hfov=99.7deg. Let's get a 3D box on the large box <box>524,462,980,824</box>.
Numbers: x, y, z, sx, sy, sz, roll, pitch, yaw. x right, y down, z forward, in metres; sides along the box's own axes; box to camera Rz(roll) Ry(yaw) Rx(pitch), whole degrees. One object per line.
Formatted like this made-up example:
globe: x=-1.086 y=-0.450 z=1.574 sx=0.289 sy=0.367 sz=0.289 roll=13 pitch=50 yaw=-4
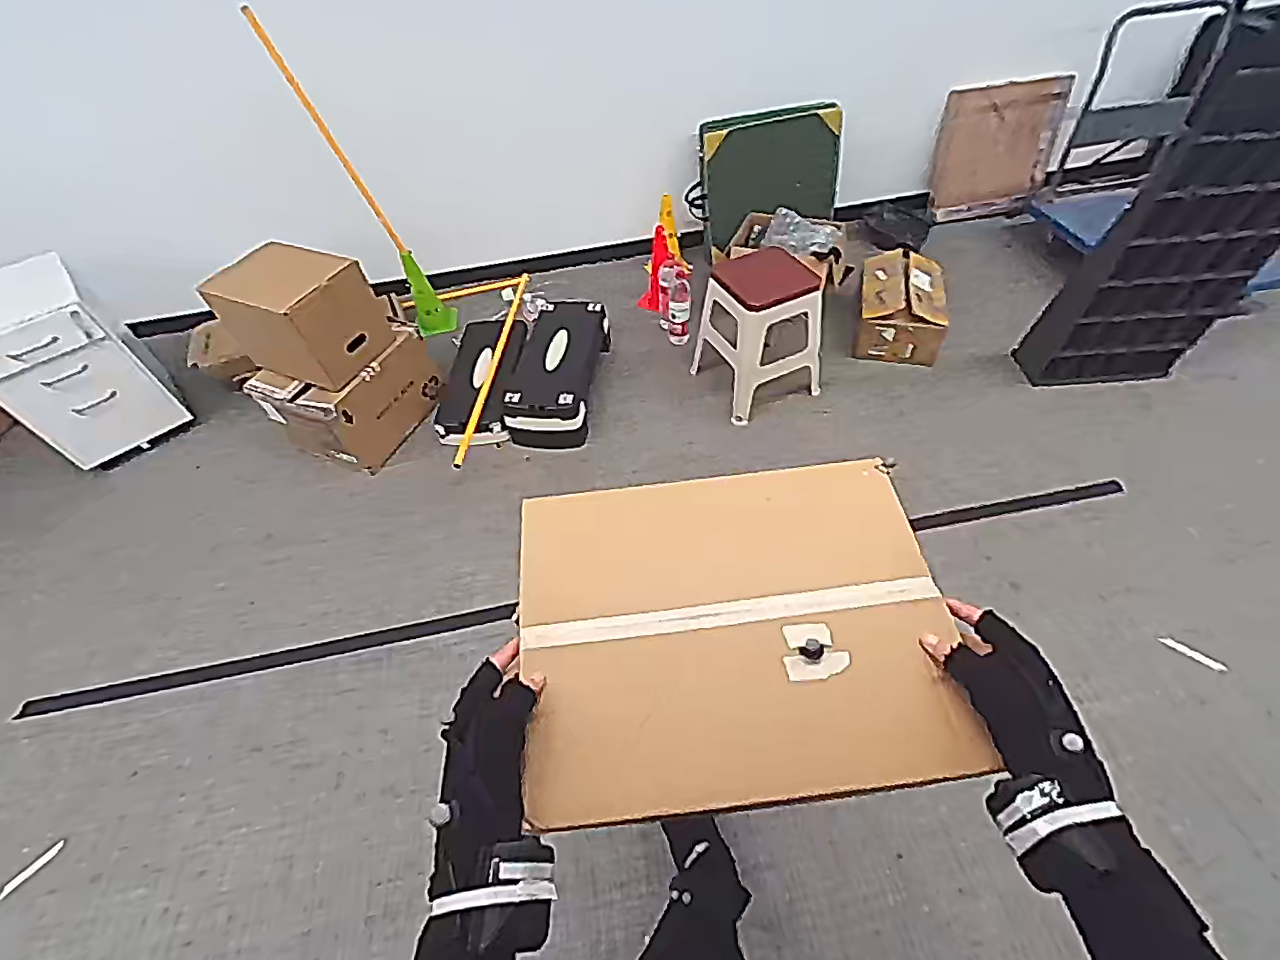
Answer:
large box: x=0.088 y=0.212 z=0.665 sx=0.408 sy=0.320 sz=0.320 roll=-7 pitch=57 yaw=-1
